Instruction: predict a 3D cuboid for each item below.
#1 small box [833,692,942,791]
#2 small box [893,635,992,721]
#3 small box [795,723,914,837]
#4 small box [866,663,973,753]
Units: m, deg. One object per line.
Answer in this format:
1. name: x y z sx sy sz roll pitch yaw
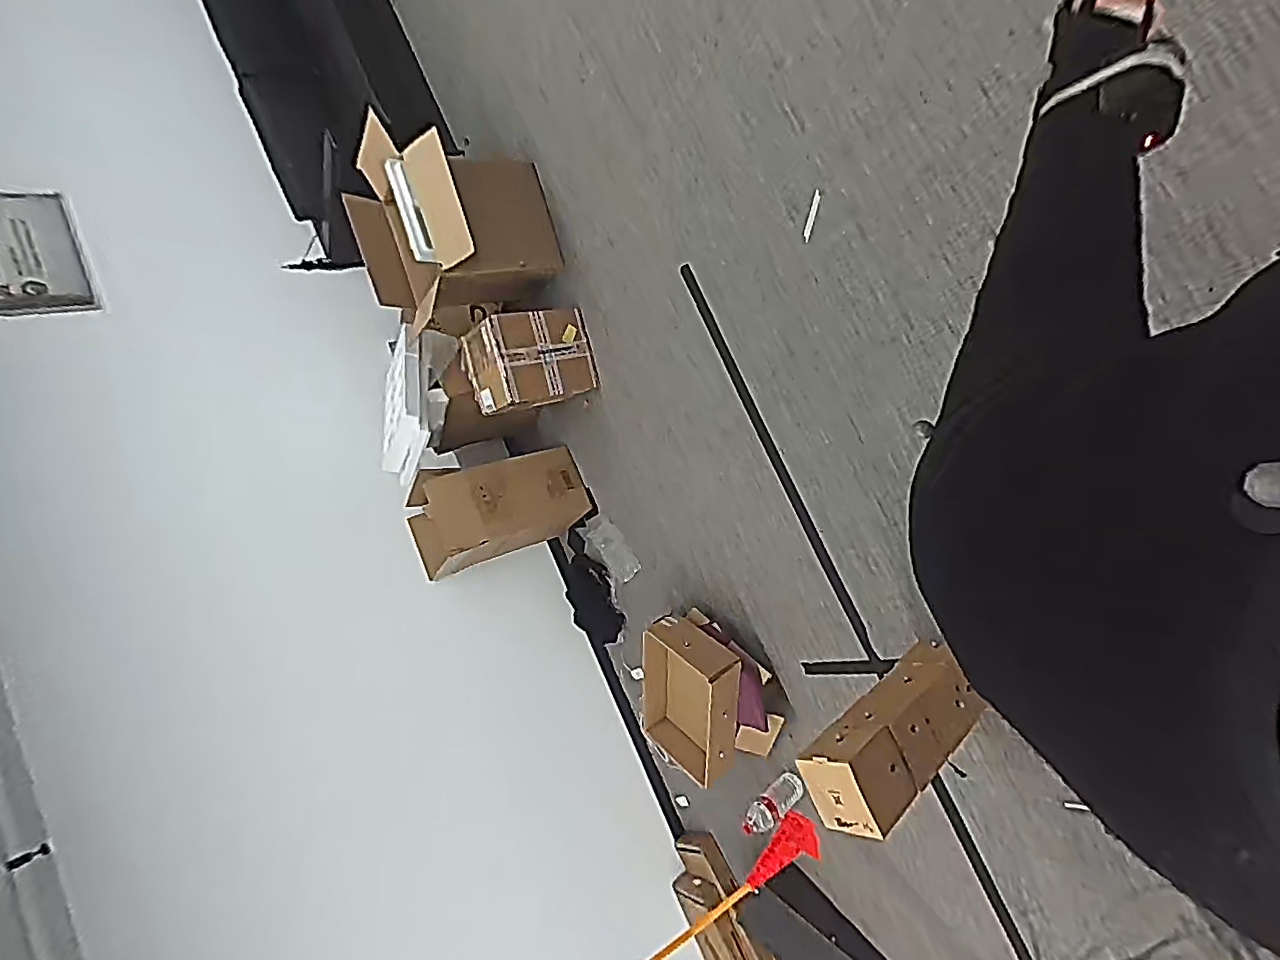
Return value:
1. small box: 0.640 0.658 1.385 0.179 0.176 0.168 -33 78 54
2. small box: 0.888 0.575 1.580 0.168 0.176 0.179 -31 80 53
3. small box: 0.512 0.701 1.291 0.168 0.176 0.179 -33 78 53
4. small box: 0.765 0.615 1.478 0.179 0.176 0.168 -31 81 52
